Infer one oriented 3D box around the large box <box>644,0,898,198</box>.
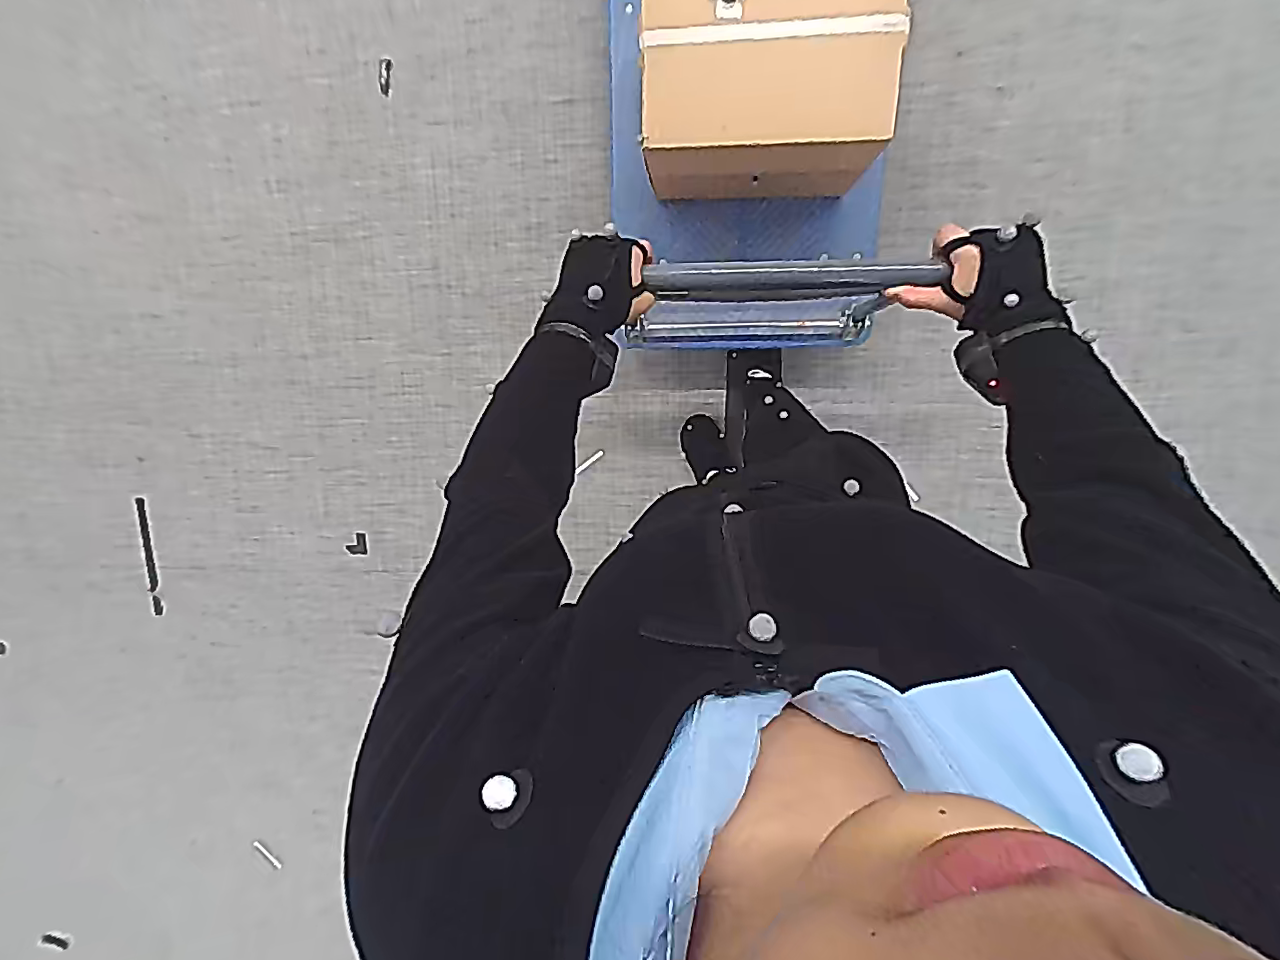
[{"bbox_3d":[0.224,-0.743,1.012,0.408,0.320,0.320,2,102,7],"label":"large box"}]
